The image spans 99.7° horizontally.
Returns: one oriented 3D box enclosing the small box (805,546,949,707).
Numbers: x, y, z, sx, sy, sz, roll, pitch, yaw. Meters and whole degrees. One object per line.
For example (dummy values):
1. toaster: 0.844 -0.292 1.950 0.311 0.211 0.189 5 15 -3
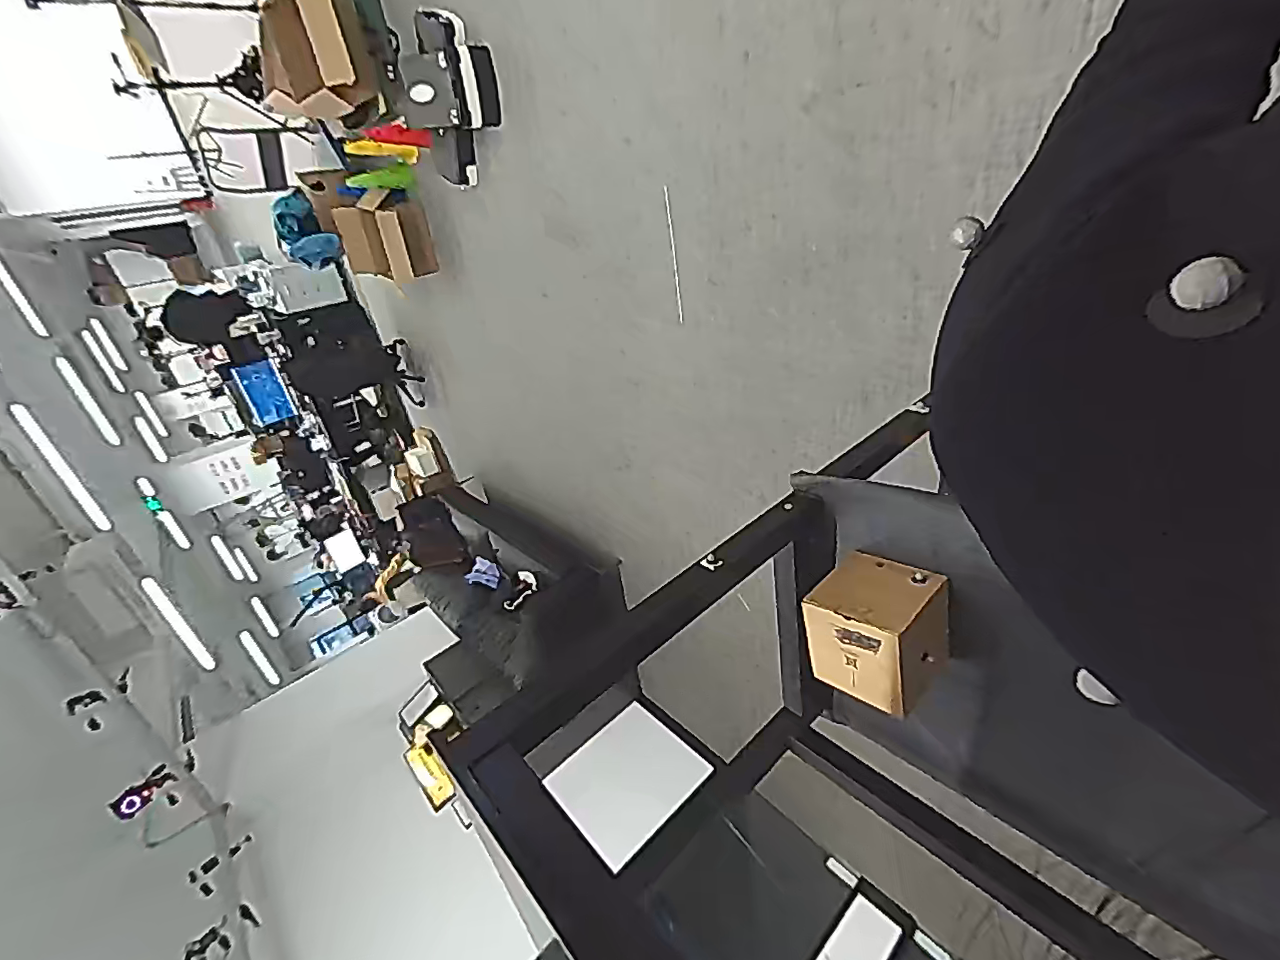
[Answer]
1. small box: 0.408 0.238 0.927 0.168 0.176 0.179 15 128 49
